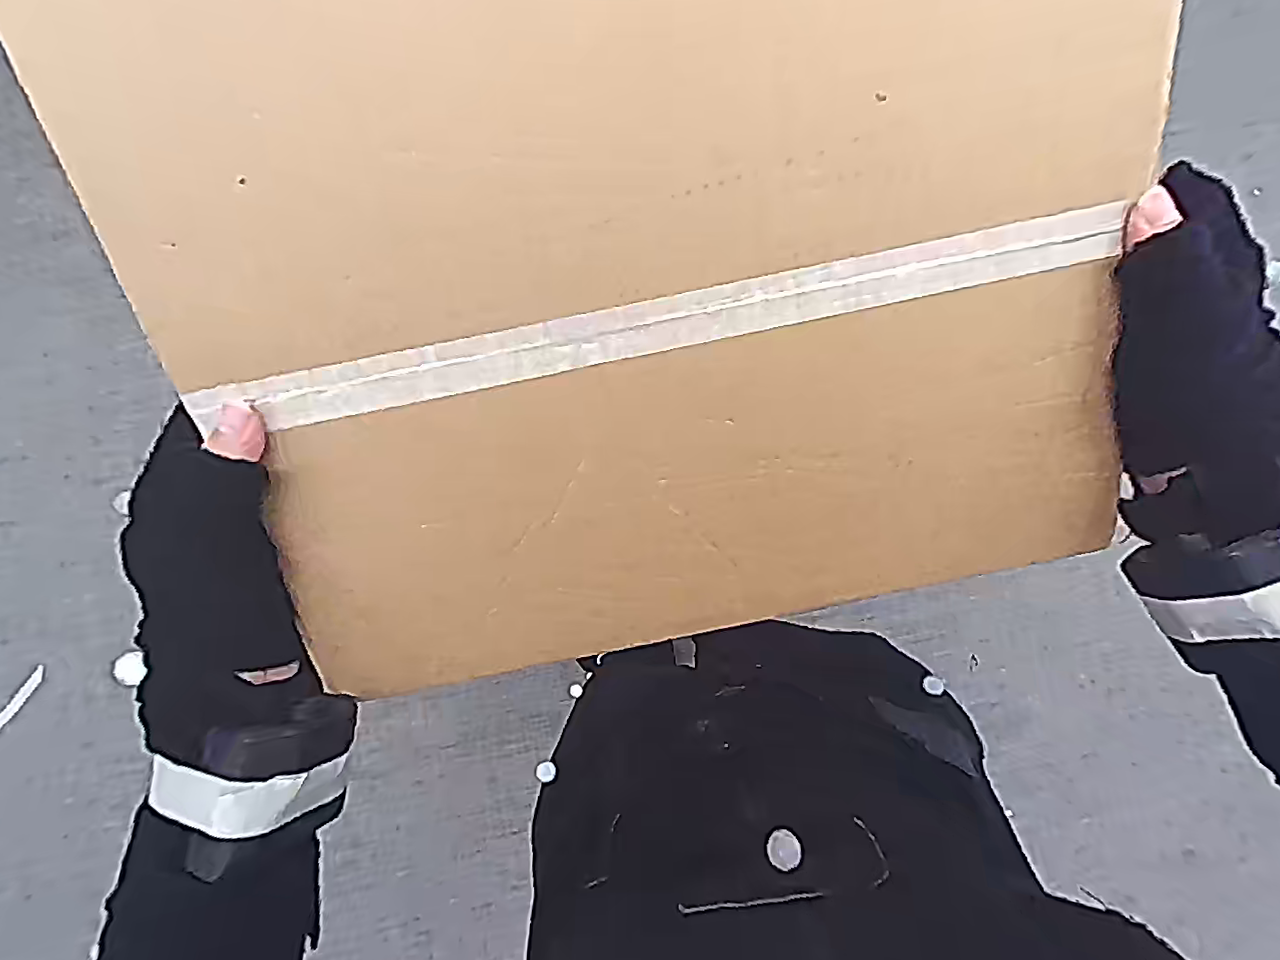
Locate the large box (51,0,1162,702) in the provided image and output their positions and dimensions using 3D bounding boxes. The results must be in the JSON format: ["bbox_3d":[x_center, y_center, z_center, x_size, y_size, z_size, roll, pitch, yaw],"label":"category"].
[{"bbox_3d":[0.009,-0.112,0.376,0.408,0.320,0.320,-11,110,0],"label":"large box"}]
